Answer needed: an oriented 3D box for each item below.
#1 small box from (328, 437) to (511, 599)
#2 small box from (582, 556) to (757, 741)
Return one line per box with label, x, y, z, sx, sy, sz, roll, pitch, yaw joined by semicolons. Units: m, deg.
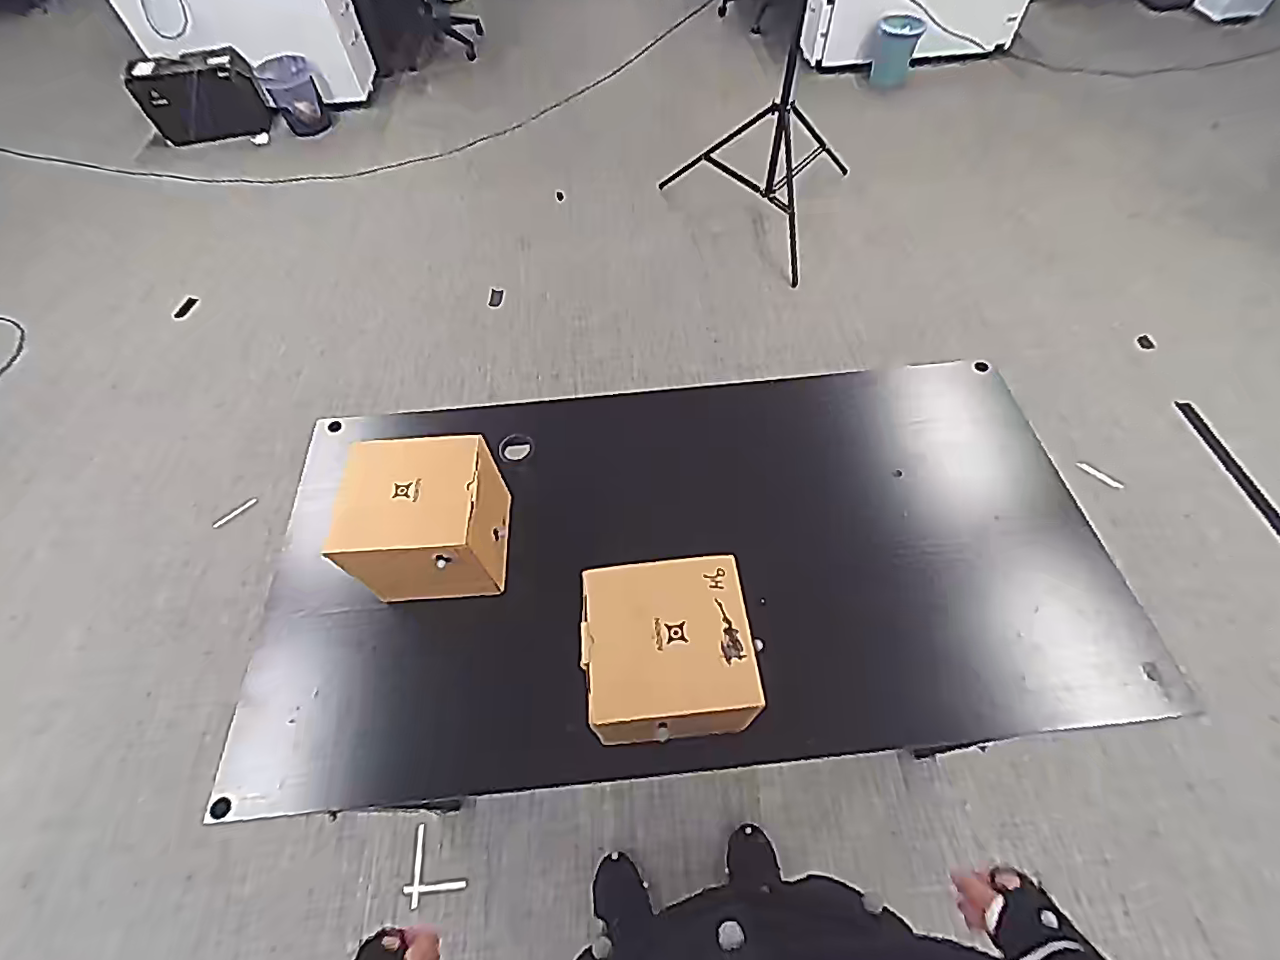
small box;-0.291;0.059;0.756;0.179;0.176;0.168;-4;58;-1
small box;0.031;0.208;0.650;0.179;0.176;0.168;-6;58;-1
